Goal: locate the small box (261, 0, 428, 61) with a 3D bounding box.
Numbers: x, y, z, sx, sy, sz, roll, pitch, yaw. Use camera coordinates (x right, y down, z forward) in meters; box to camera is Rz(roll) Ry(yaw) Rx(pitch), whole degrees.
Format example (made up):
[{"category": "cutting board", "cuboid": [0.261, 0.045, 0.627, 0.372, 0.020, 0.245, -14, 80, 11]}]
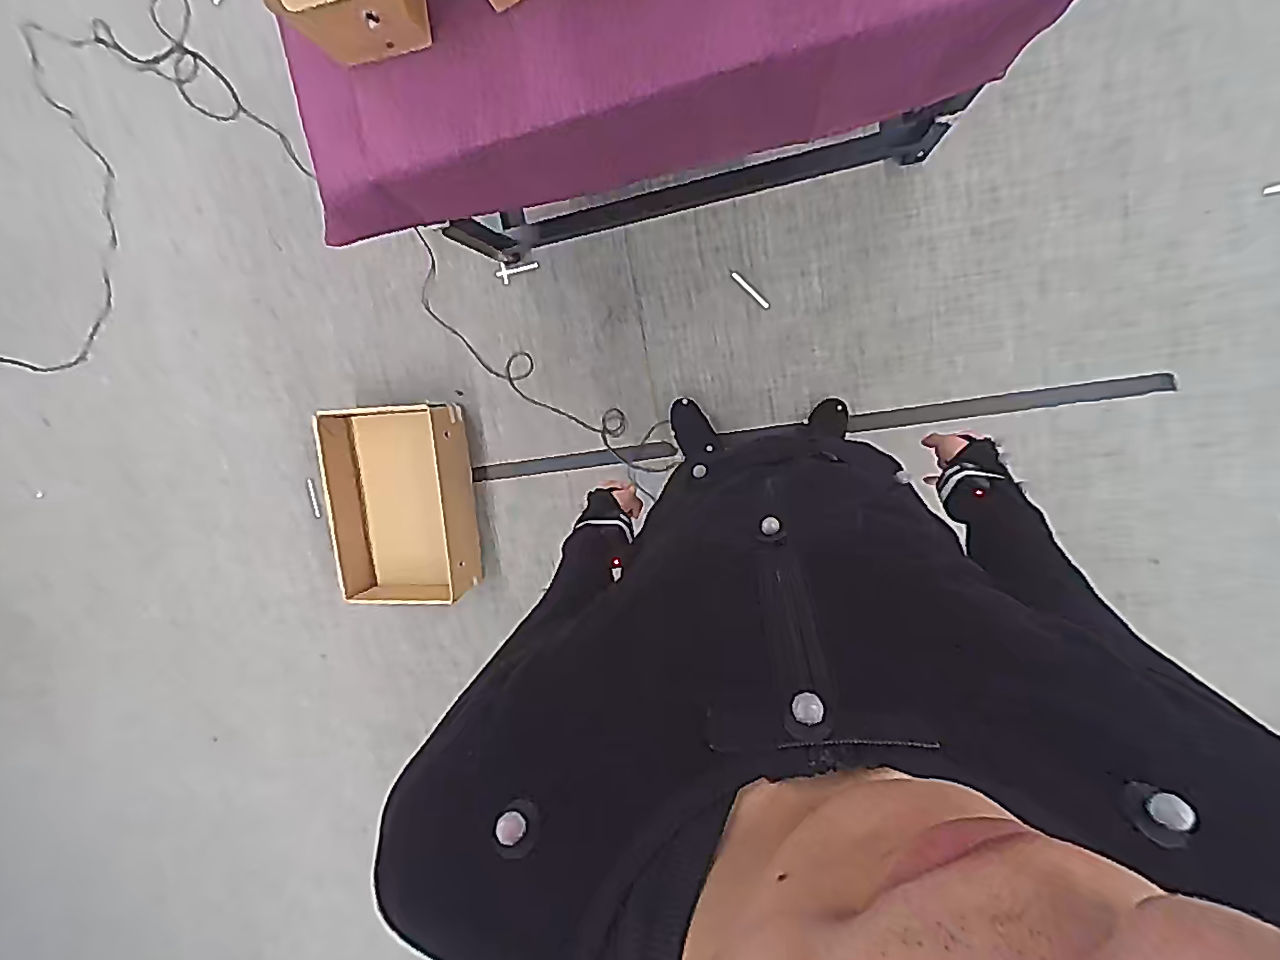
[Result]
[{"category": "small box", "cuboid": [-0.431, -0.753, 0.786, 0.168, 0.176, 0.179, -4, 99, 11]}]
